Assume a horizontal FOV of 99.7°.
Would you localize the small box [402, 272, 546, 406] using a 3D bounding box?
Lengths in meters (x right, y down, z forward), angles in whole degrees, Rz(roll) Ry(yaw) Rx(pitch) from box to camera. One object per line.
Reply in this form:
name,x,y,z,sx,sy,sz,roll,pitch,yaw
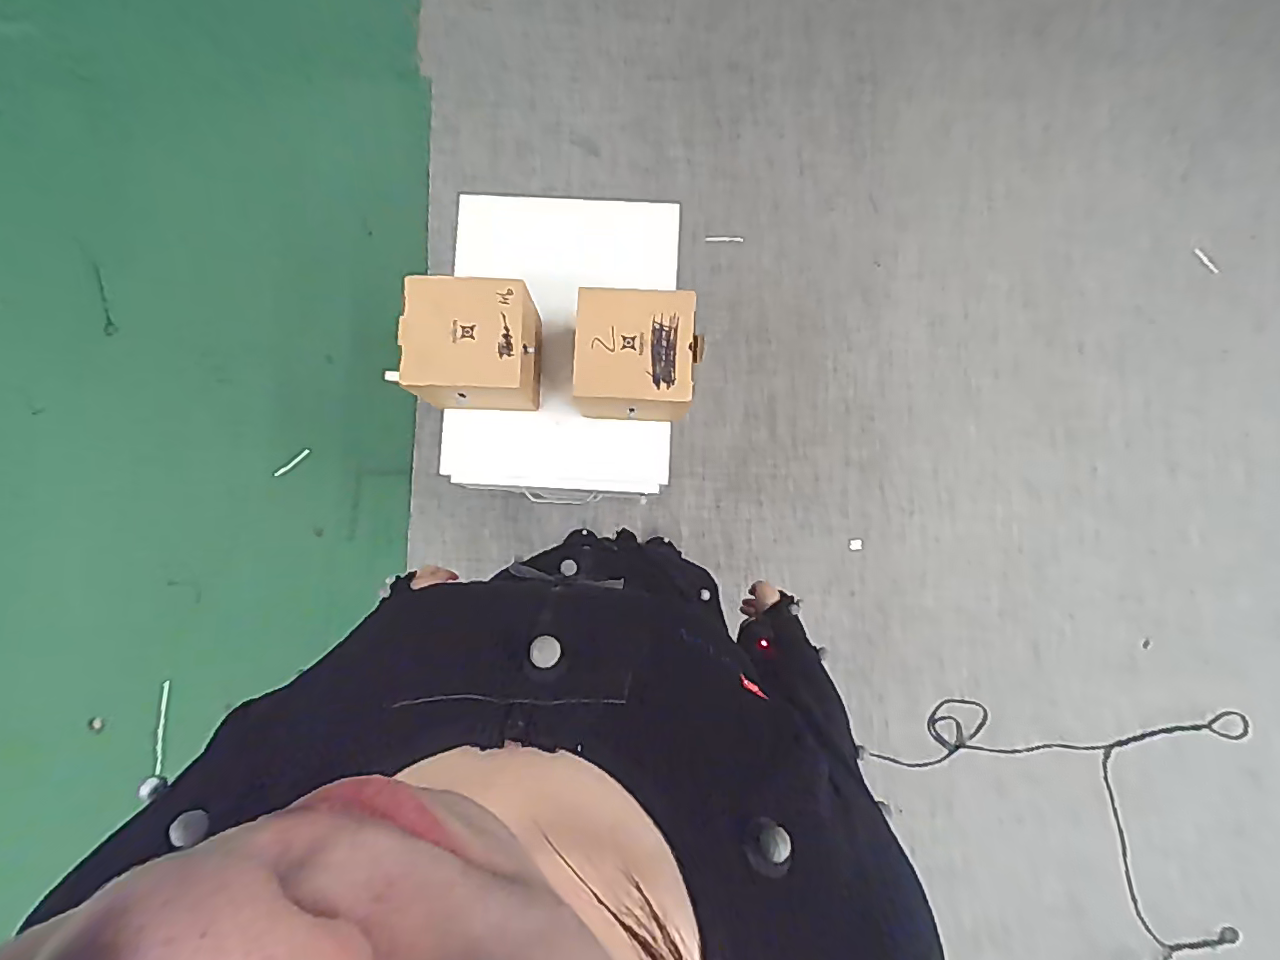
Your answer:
small box,-0.255,-0.215,0.864,0.179,0.176,0.168,1,87,-1
